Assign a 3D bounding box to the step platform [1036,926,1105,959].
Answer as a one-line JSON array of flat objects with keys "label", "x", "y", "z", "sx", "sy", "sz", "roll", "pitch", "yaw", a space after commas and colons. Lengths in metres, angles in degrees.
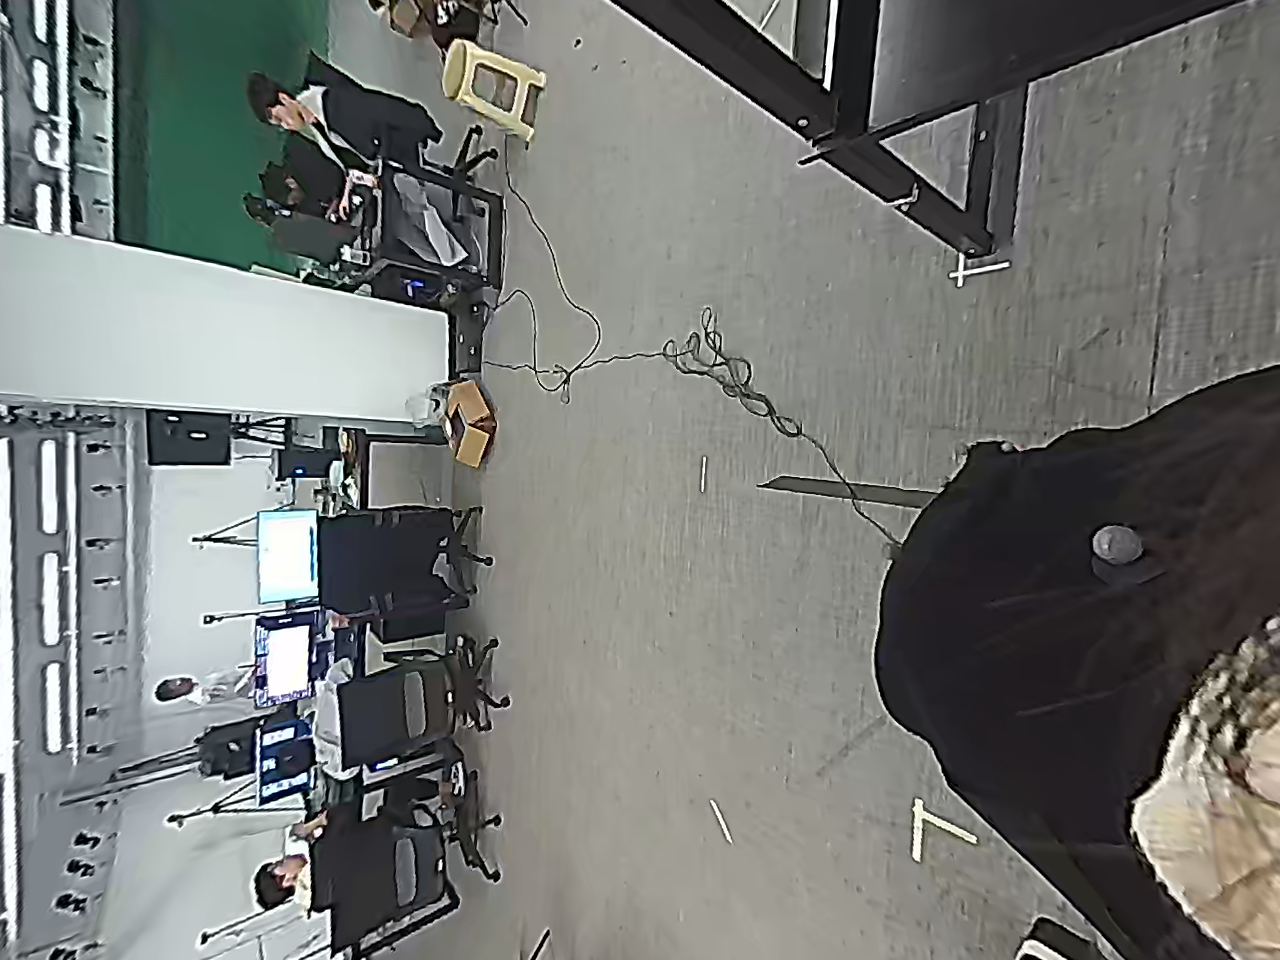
[{"label": "step platform", "x": 1.072, "y": 1.206, "z": 0.951, "sx": 0.684, "sy": 0.204, "sz": 0.286, "roll": 17, "pitch": 103, "yaw": 48}]
